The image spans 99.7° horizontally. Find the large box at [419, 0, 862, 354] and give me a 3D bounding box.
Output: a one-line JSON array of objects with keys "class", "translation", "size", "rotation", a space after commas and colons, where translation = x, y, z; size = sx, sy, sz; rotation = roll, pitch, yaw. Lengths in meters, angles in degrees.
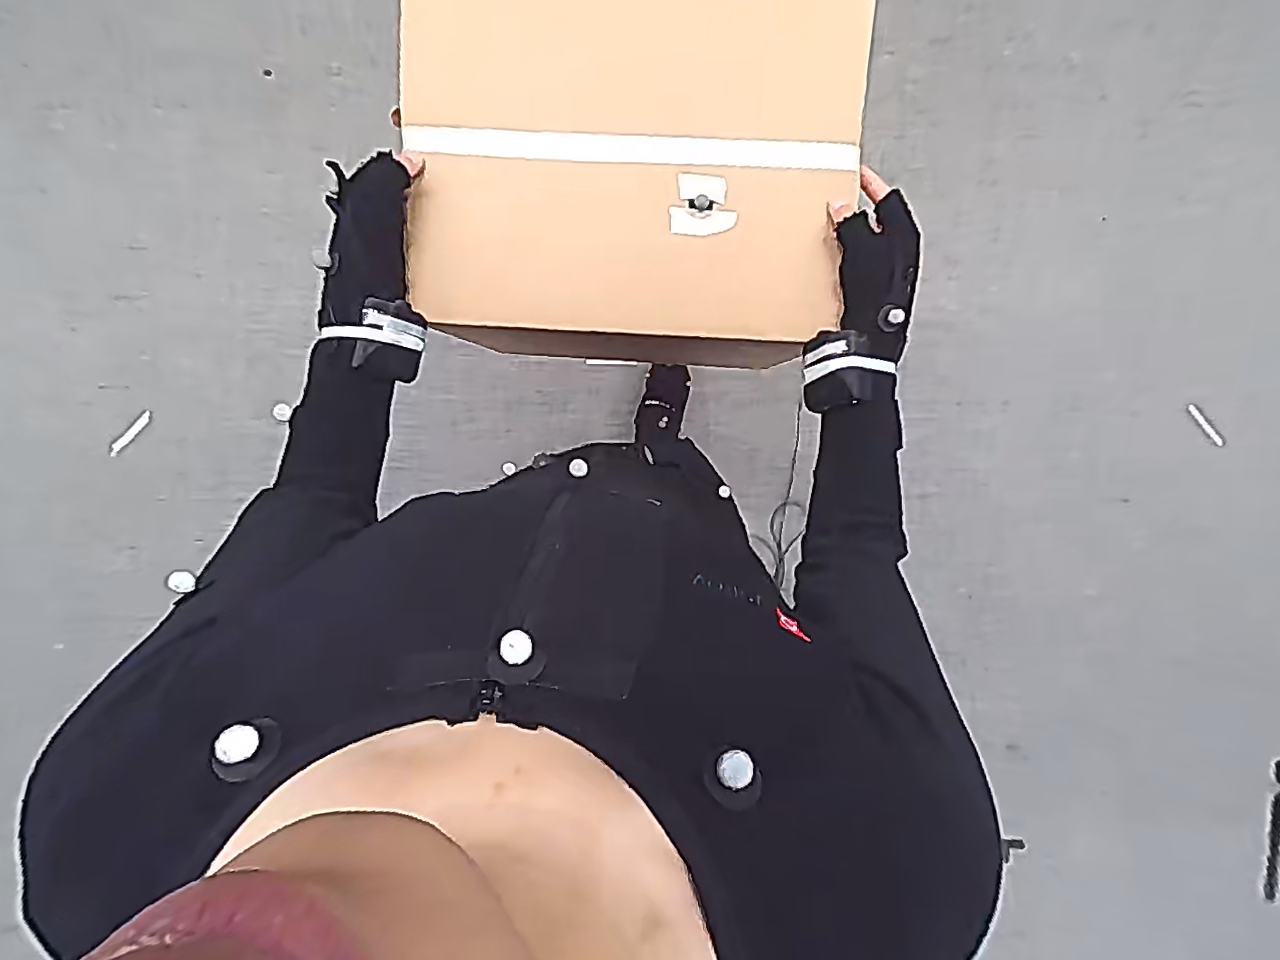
[{"class": "large box", "translation": [-0.005, -0.326, 0.646], "size": [0.408, 0.320, 0.320], "rotation": [3, 98, 0]}]
